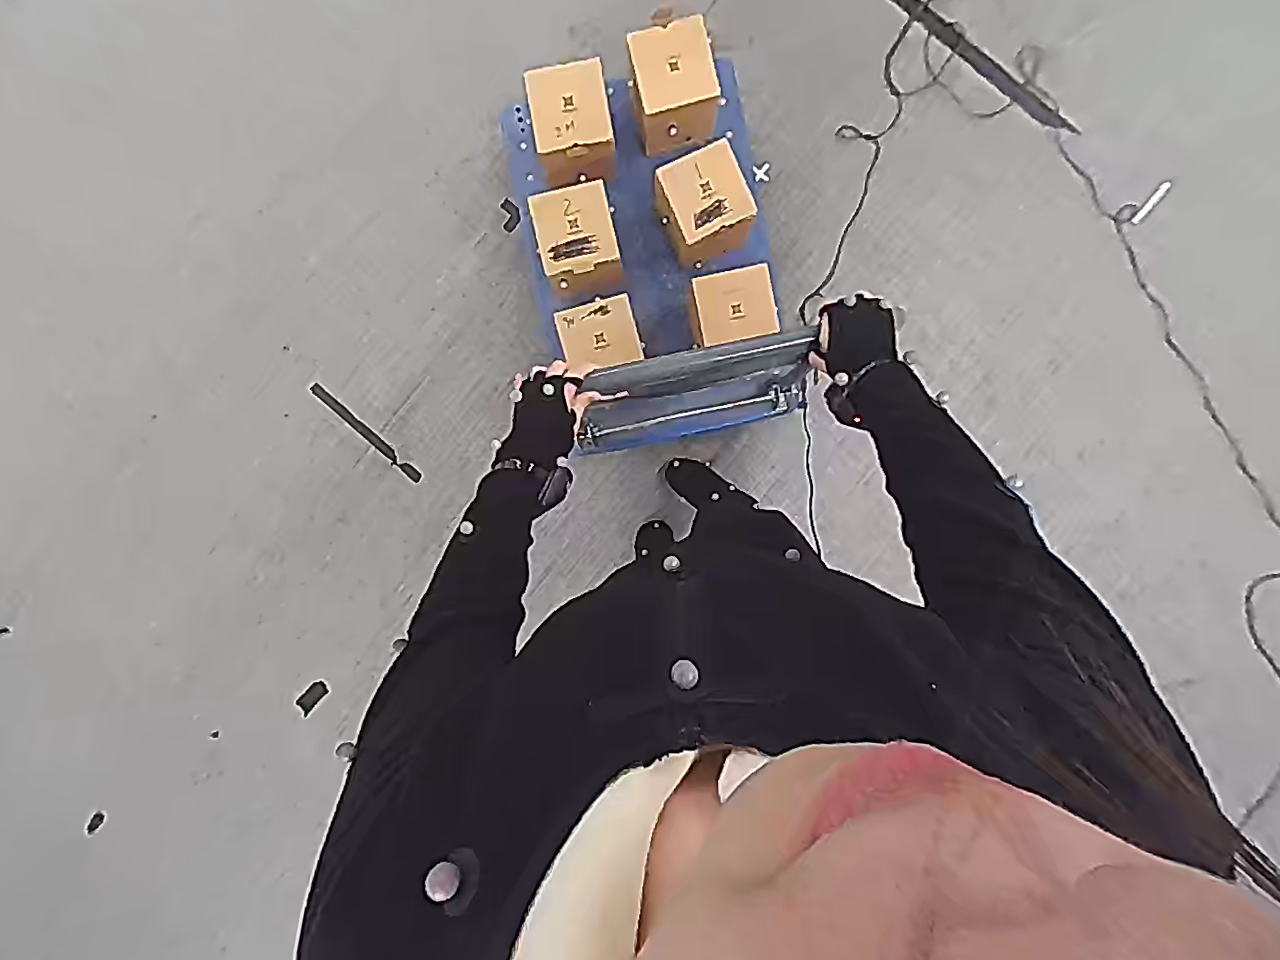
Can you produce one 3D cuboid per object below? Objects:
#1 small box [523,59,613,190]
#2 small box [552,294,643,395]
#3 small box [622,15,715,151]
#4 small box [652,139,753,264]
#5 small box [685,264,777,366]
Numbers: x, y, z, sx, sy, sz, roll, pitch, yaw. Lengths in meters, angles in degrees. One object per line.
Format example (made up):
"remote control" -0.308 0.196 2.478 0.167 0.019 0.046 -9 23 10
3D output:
"small box" -0.156 -0.793 1.221 0.168 0.176 0.179 -10 93 1
"small box" -0.089 -0.299 1.239 0.168 0.176 0.179 -15 92 0
"small box" 0.064 -0.878 1.218 0.168 0.176 0.179 -15 92 1
"small box" 0.136 -0.614 1.226 0.168 0.176 0.179 -24 91 1
"small box" 0.201 -0.365 1.235 0.168 0.176 0.179 -11 91 1
